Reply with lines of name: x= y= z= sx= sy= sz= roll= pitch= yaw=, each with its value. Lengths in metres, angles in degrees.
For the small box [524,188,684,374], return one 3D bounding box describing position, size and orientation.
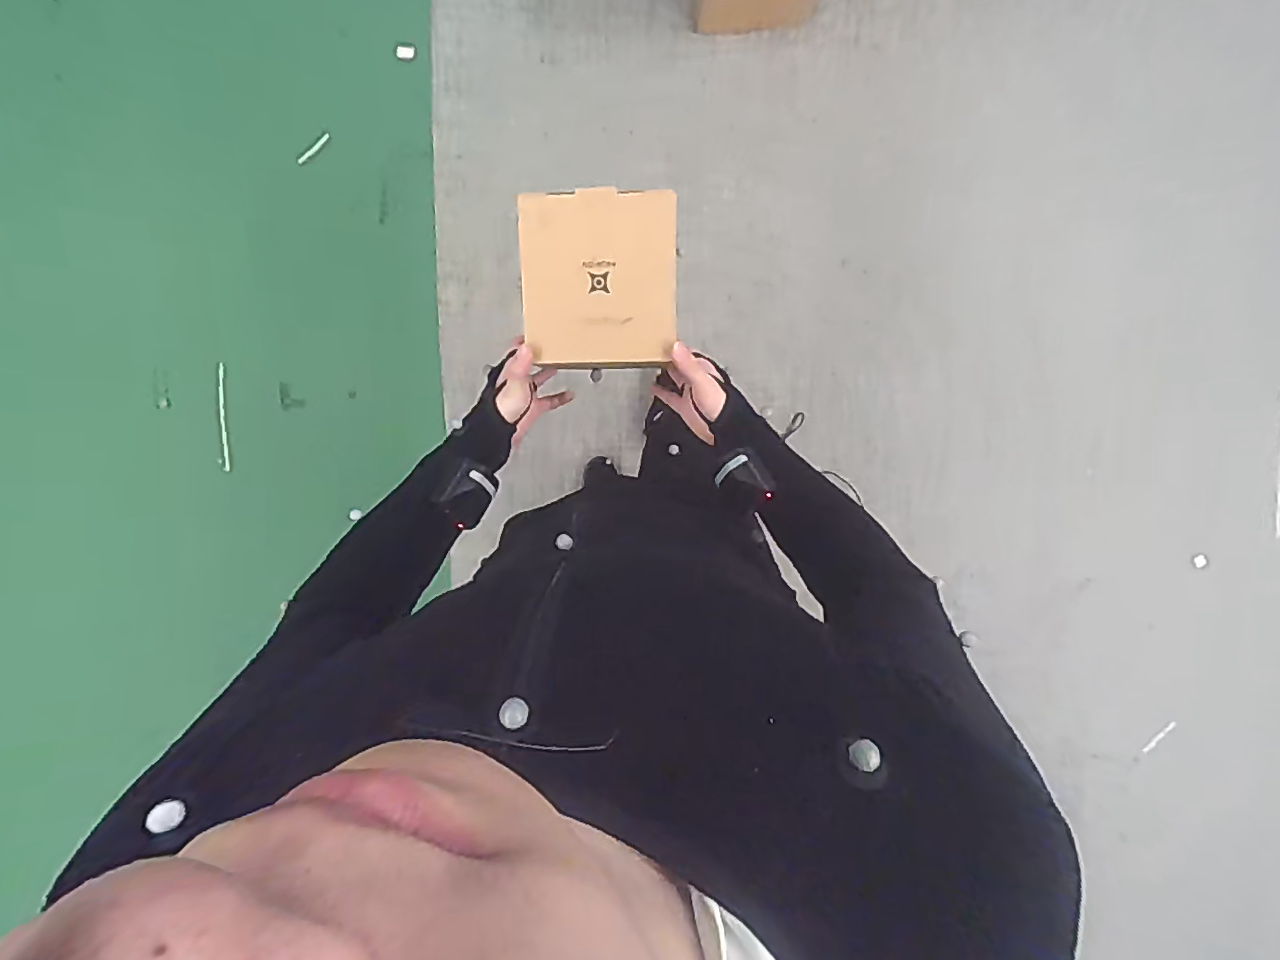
small box: x=-0.038 y=-0.219 z=0.636 sx=0.168 sy=0.176 sz=0.179 roll=0 pitch=99 yaw=1
